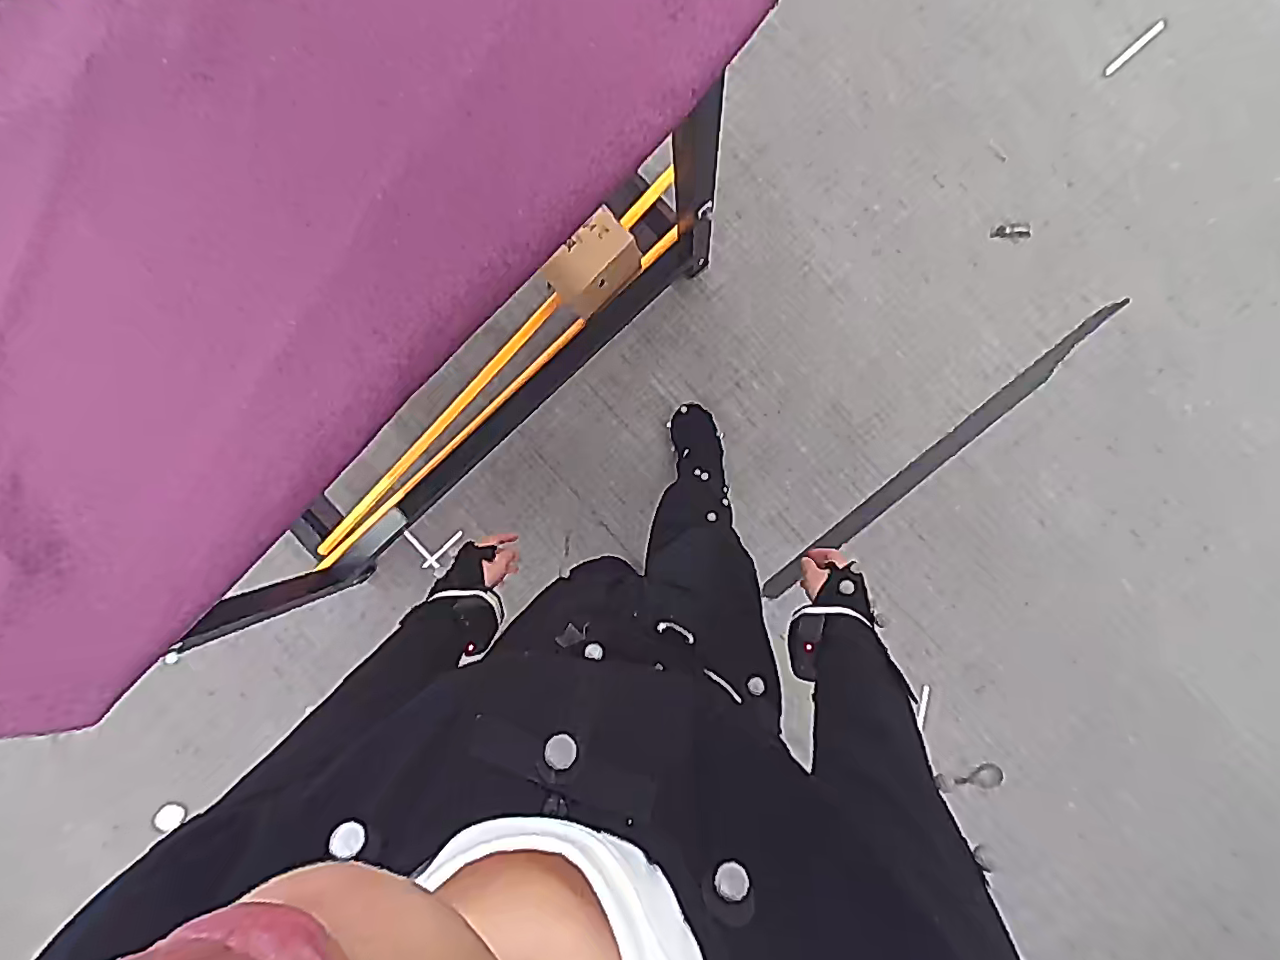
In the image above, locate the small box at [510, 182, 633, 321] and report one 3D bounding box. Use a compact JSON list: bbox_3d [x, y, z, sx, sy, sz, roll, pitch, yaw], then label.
[{"bbox_3d":[-0.129,-0.455,1.113,0.179,0.176,0.168,-43,89,5],"label":"small box"}]
